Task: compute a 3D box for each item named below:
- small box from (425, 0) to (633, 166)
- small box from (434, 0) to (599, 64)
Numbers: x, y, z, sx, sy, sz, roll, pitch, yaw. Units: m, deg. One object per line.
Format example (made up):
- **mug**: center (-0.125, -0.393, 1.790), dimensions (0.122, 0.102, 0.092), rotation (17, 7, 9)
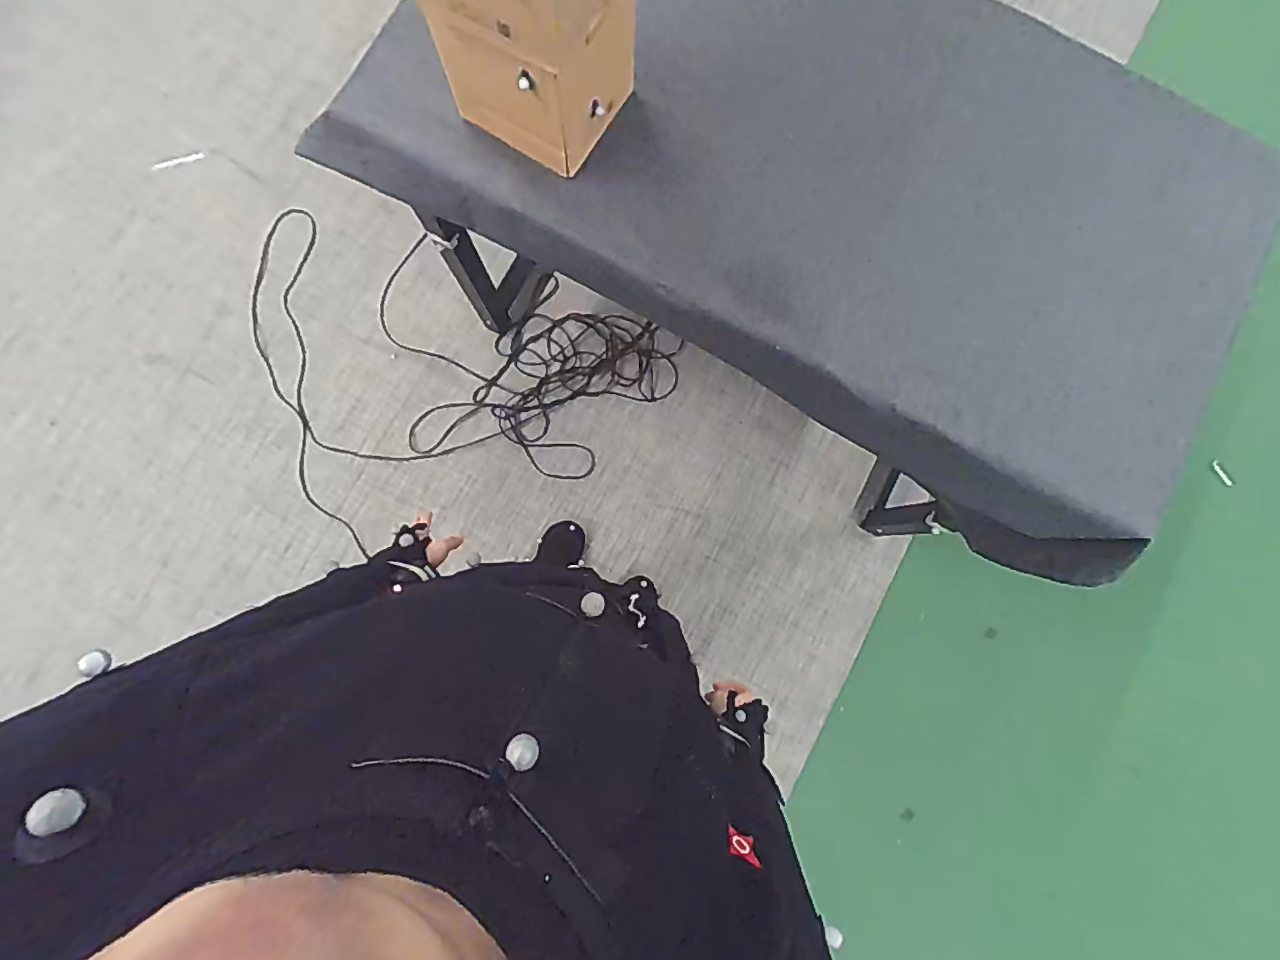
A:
- **small box**: center (-0.124, -0.523, 0.644), dimensions (0.179, 0.176, 0.168), rotation (31, 82, 1)
- **small box**: center (-0.113, -0.534, 0.483), dimensions (0.168, 0.176, 0.179), rotation (26, 81, -2)
